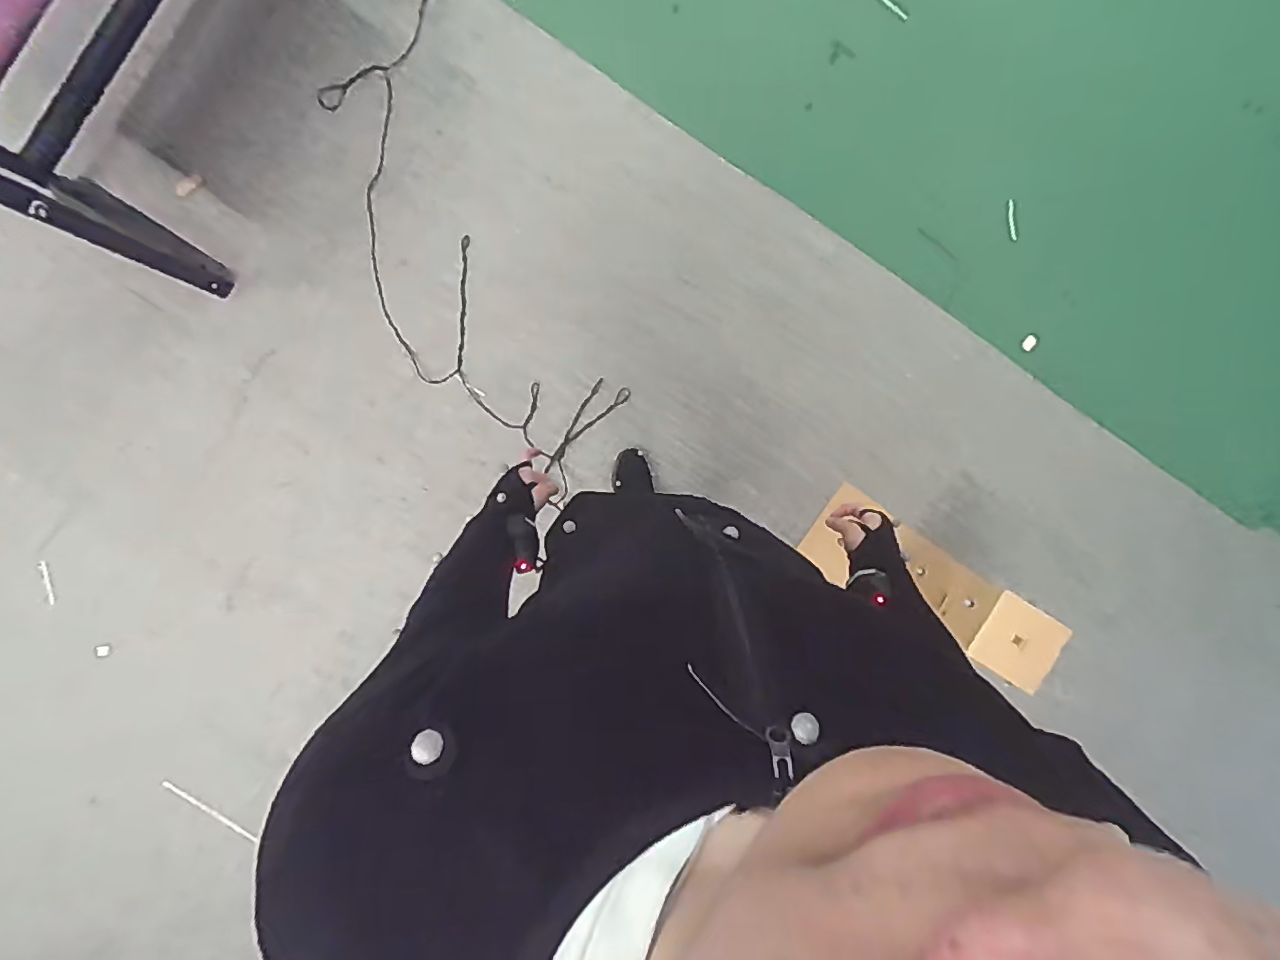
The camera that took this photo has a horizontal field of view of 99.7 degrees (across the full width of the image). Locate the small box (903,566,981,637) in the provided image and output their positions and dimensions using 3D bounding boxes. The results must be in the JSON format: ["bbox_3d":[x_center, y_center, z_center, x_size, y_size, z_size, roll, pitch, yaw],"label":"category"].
[{"bbox_3d":[0.812,0.333,1.375,0.179,0.176,0.168,32,91,-1],"label":"small box"}]

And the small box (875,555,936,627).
[{"bbox_3d":[0.812,0.330,1.539,0.179,0.176,0.168,28,91,0],"label":"small box"}]

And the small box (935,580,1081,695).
[{"bbox_3d":[0.811,0.341,1.213,0.179,0.176,0.168,32,91,-1],"label":"small box"}]
